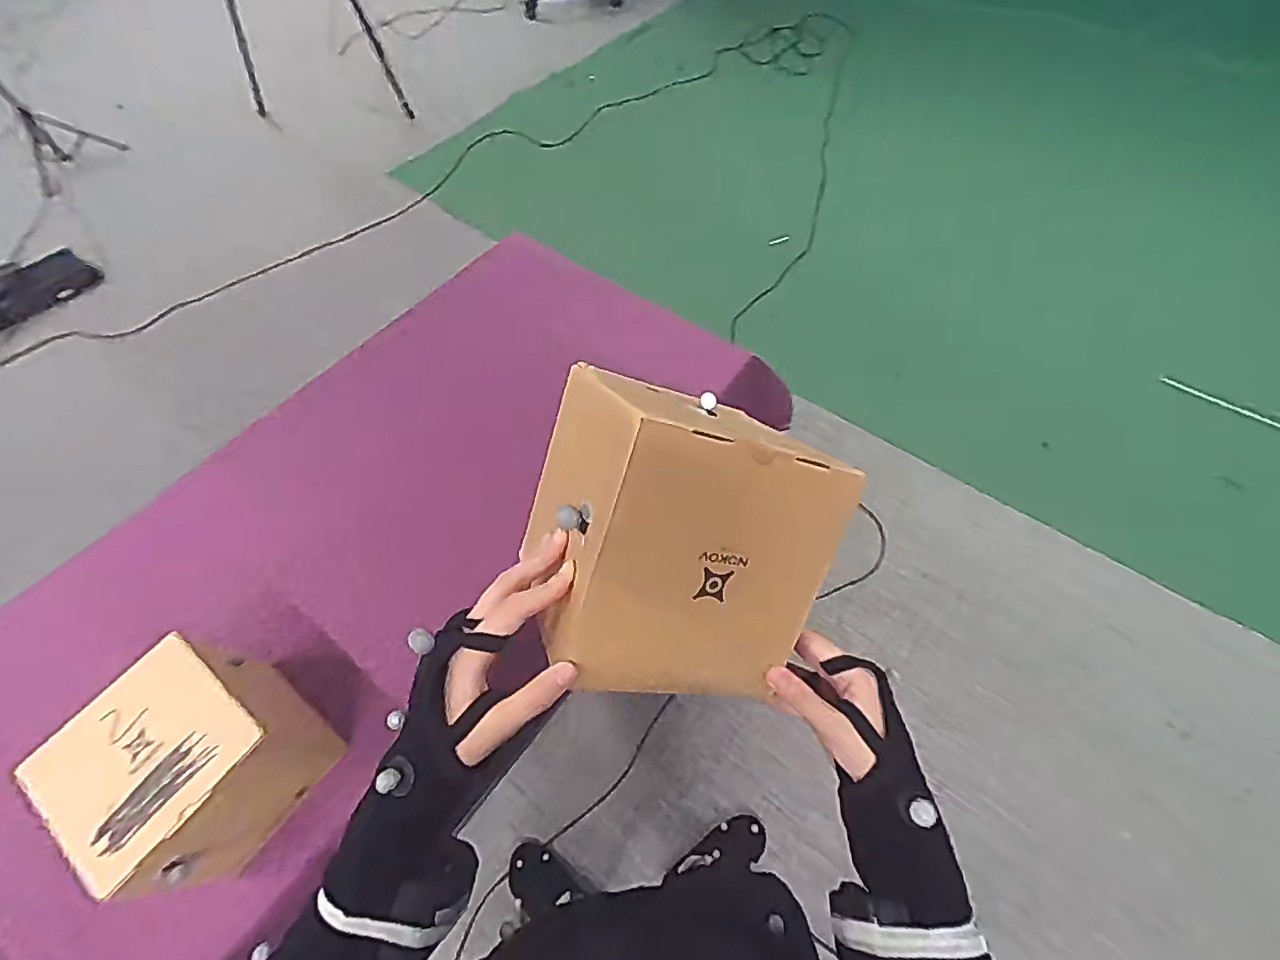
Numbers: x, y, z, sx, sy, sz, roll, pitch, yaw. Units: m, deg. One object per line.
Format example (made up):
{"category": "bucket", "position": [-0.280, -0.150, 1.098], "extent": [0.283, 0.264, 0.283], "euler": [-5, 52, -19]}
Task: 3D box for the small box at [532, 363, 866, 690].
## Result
{"category": "small box", "position": [0.022, 0.028, 0.406], "extent": [0.168, 0.179, 0.176], "euler": [12, 16, -23]}
